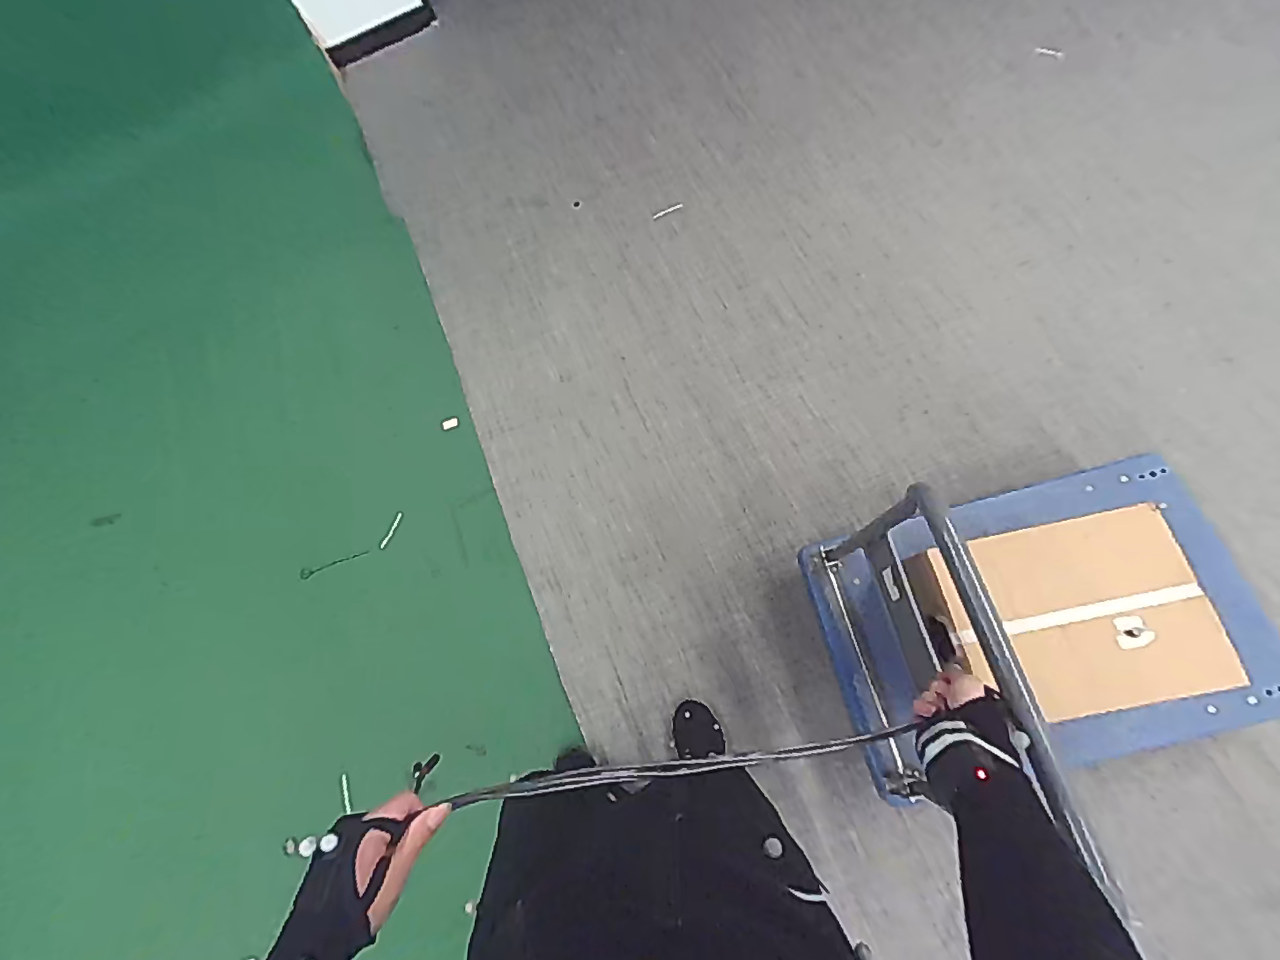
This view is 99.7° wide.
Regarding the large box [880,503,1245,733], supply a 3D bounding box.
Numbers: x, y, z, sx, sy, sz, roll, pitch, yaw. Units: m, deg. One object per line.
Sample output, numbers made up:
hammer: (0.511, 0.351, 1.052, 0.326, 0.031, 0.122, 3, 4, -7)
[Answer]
large box: (0.755, 0.270, 1.052, 0.408, 0.320, 0.320, -12, 72, 3)
